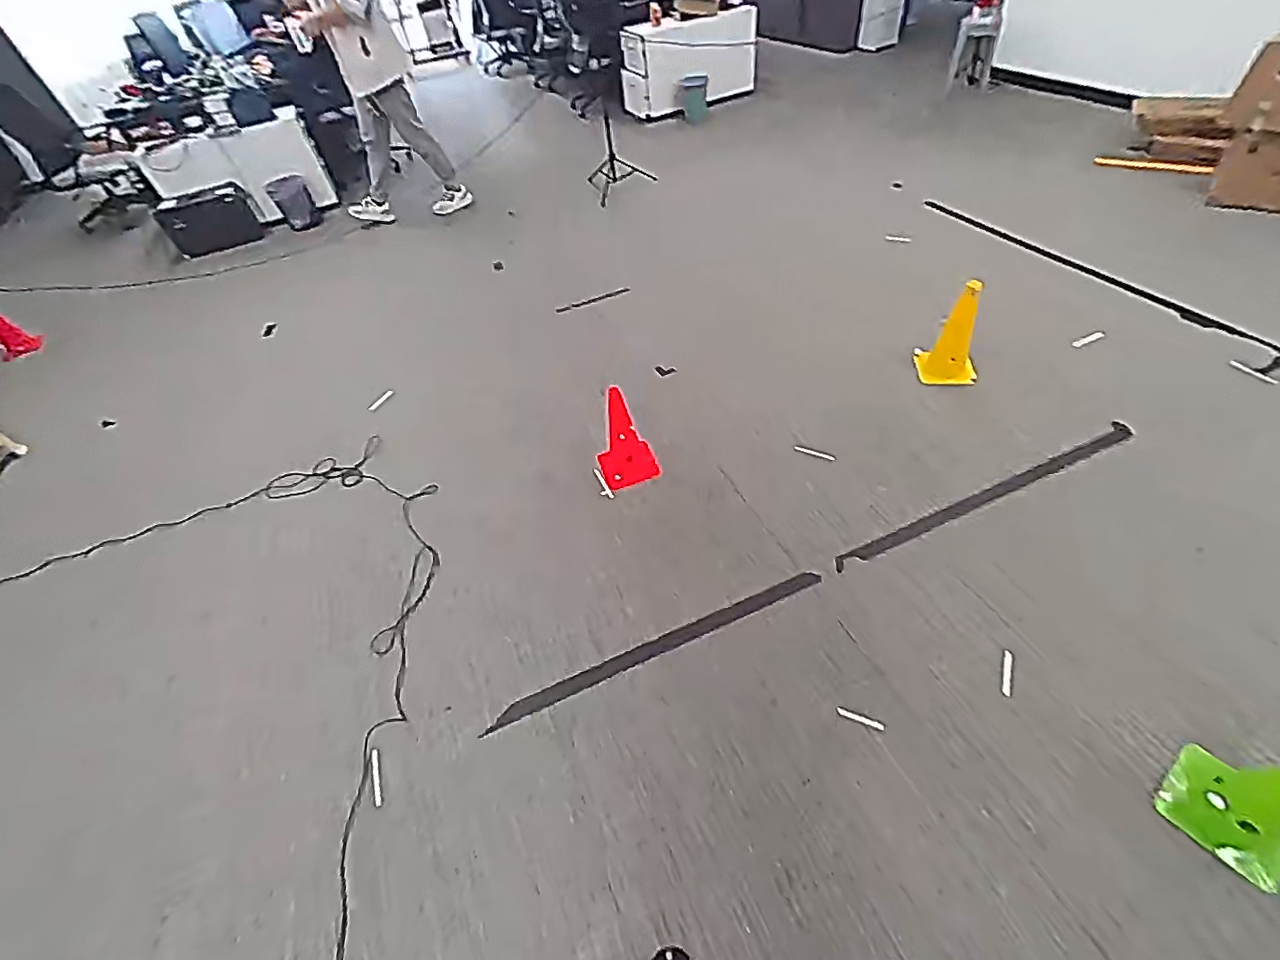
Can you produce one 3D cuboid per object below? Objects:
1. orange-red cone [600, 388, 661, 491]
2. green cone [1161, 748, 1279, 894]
[{"bbox_3d":[-0.054,-0.163,1.844,0.199,0.360,0.198,-15,48,-7],"label":"orange-red cone"},{"bbox_3d":[1.196,0.575,0.981,0.202,0.368,0.200,-35,52,-20],"label":"green cone"}]
